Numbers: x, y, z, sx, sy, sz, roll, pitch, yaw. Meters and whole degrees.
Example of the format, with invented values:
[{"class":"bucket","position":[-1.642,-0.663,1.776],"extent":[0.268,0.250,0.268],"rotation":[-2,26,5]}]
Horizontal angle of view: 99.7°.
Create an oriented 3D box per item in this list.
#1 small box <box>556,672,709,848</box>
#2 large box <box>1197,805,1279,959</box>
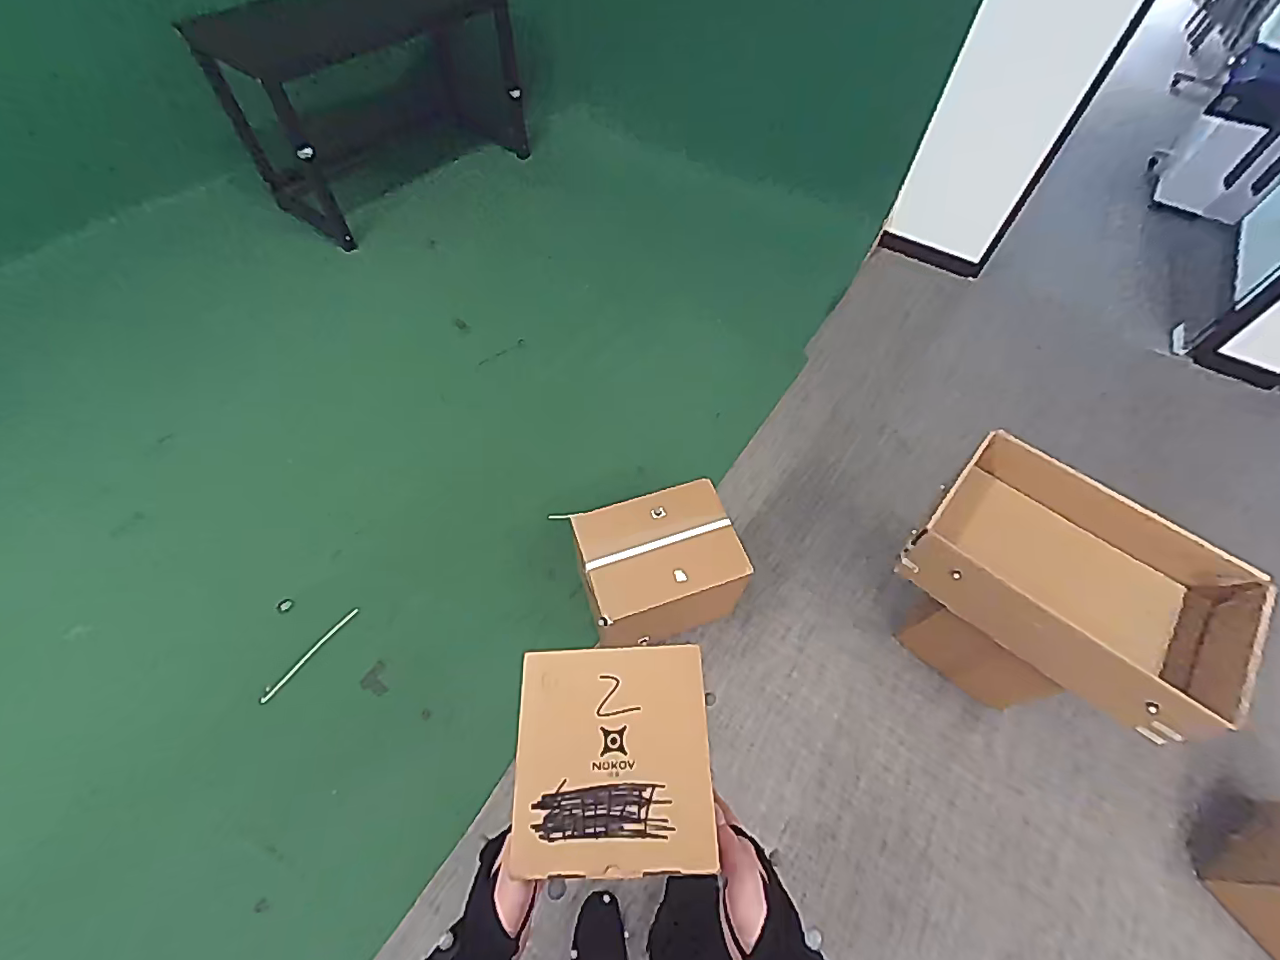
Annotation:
[{"class":"small box","position":[-0.002,0.344,0.671],"extent":[0.168,0.176,0.179],"rotation":[-1,59,3]},{"class":"large box","position":[1.580,0.968,1.142],"extent":[0.320,0.320,0.408],"rotation":[-27,61,-19]}]
